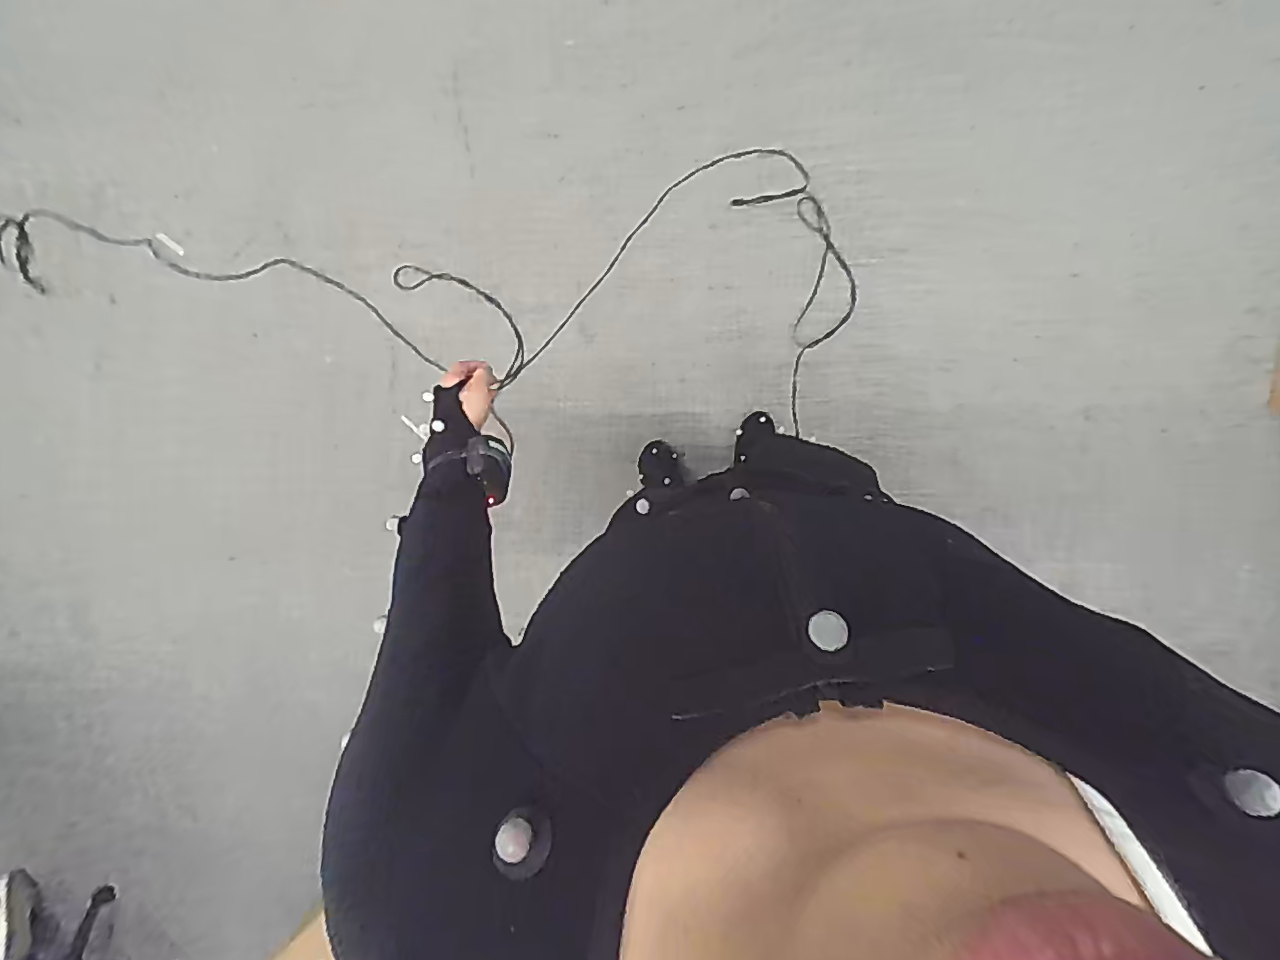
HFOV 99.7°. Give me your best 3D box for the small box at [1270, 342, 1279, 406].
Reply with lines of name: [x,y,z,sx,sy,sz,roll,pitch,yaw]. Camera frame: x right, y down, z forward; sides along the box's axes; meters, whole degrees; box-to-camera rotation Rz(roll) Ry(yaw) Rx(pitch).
small box: [1.626,-0.249,1.240,0.168,0.176,0.179,1,98,5]
